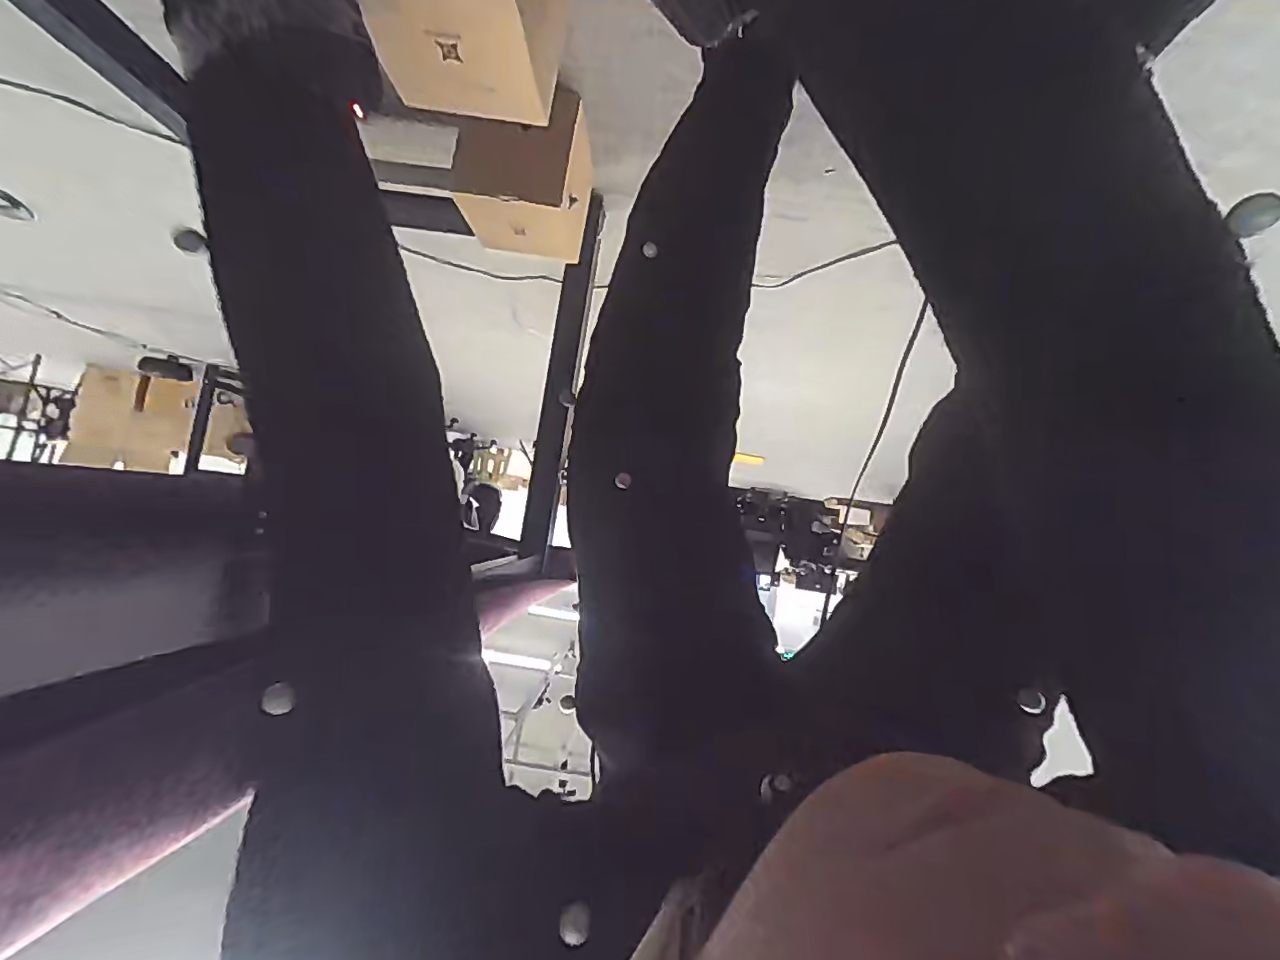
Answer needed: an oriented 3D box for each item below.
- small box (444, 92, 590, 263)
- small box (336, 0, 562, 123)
[{"bbox_3d":[-0.179,-0.468,0.839,0.168,0.176,0.179,9,175,3],"label":"small box"},{"bbox_3d":[-0.176,-0.491,0.515,0.168,0.176,0.179,10,176,2],"label":"small box"}]
